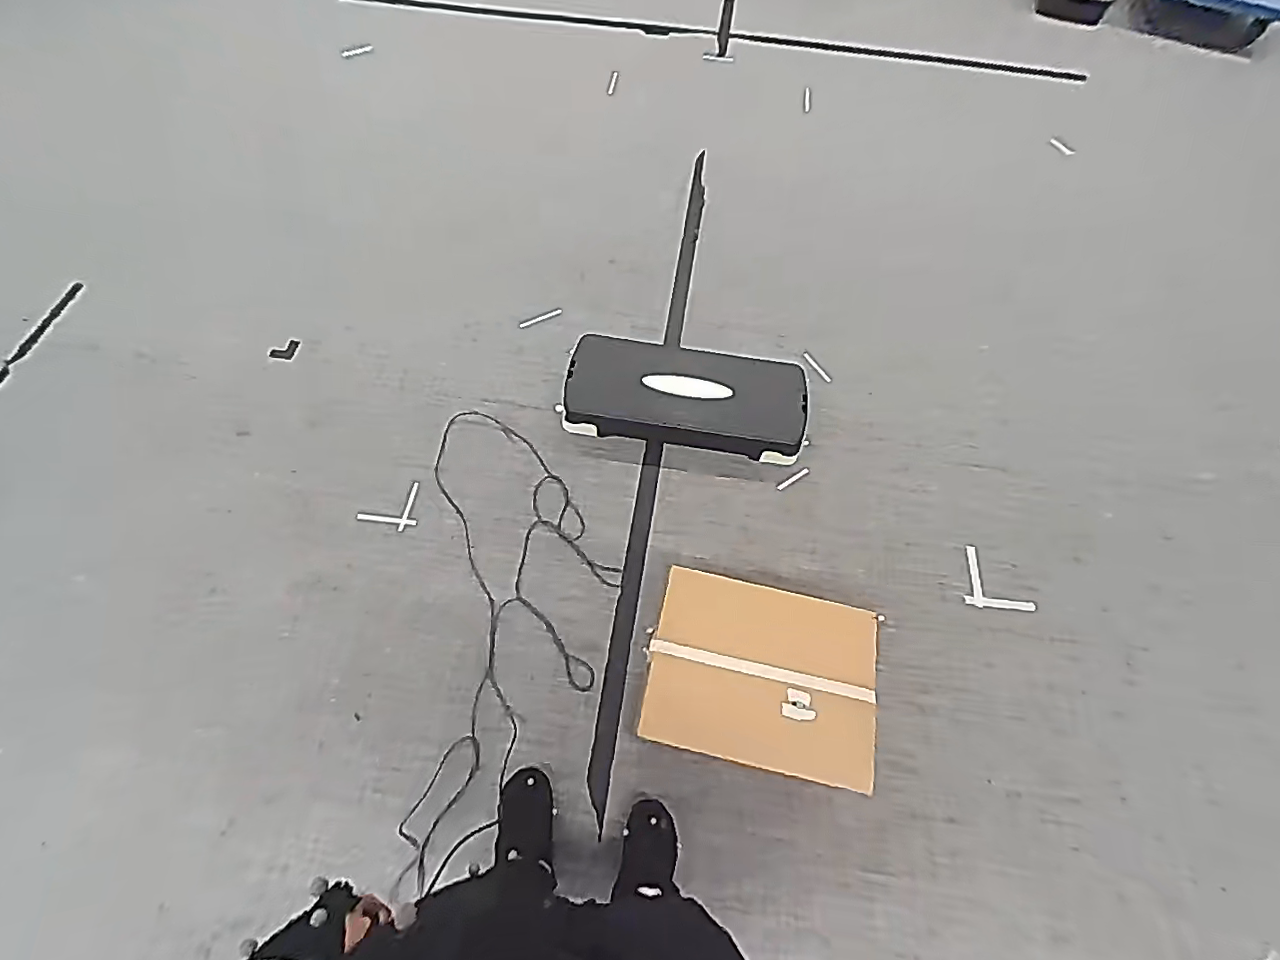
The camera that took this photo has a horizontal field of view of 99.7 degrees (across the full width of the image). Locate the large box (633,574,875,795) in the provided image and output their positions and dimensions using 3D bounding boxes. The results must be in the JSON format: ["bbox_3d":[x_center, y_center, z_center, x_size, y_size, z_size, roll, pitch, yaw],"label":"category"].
[{"bbox_3d":[0.214,0.418,1.104,0.408,0.320,0.320,13,64,3],"label":"large box"}]
